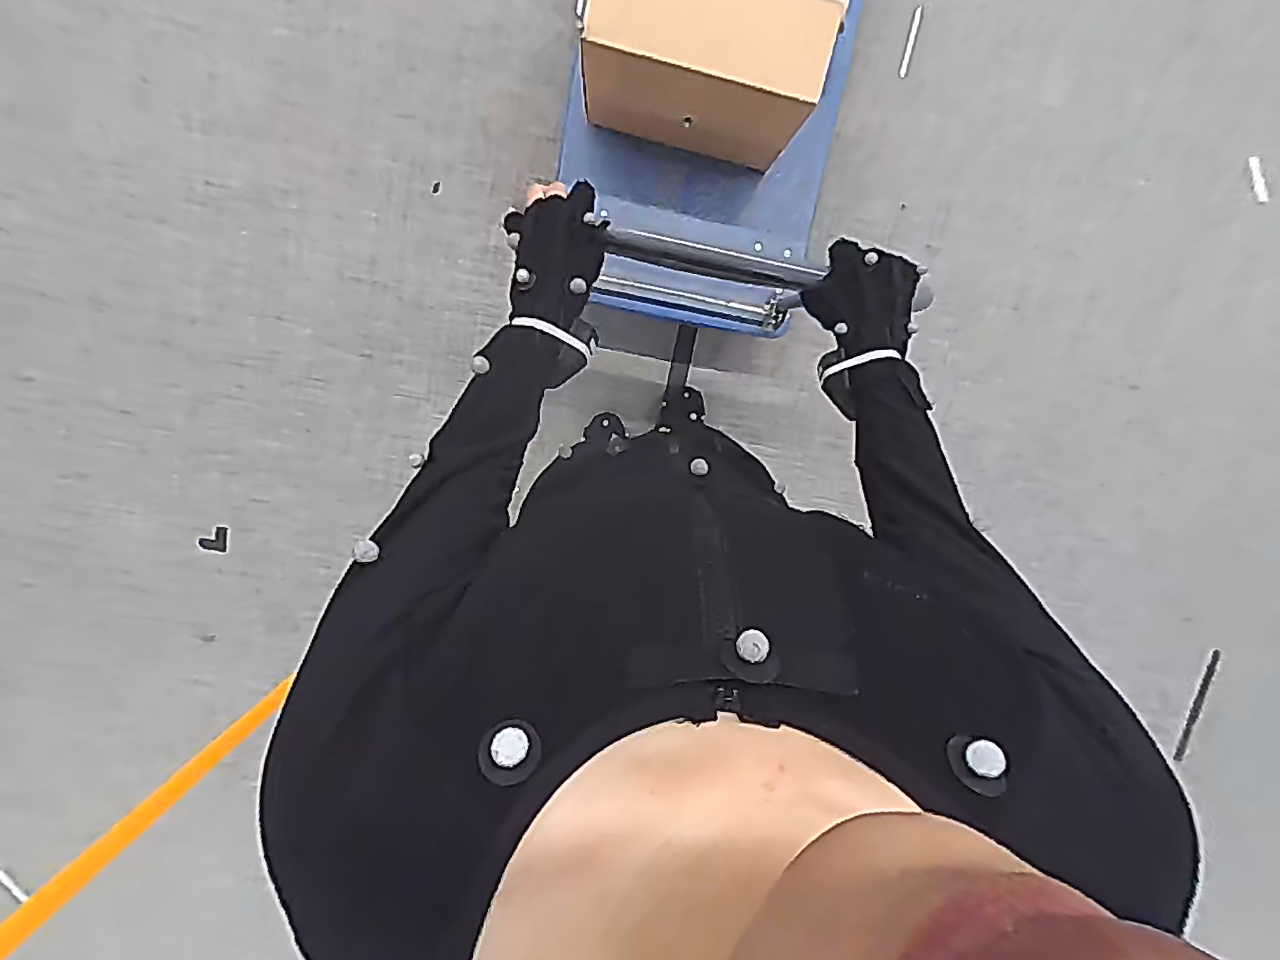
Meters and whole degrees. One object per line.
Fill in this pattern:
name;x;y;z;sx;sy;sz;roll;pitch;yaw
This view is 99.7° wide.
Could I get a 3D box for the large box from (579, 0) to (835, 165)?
large box;0.120;-0.843;1.011;0.408;0.320;0.320;12;100;-5
